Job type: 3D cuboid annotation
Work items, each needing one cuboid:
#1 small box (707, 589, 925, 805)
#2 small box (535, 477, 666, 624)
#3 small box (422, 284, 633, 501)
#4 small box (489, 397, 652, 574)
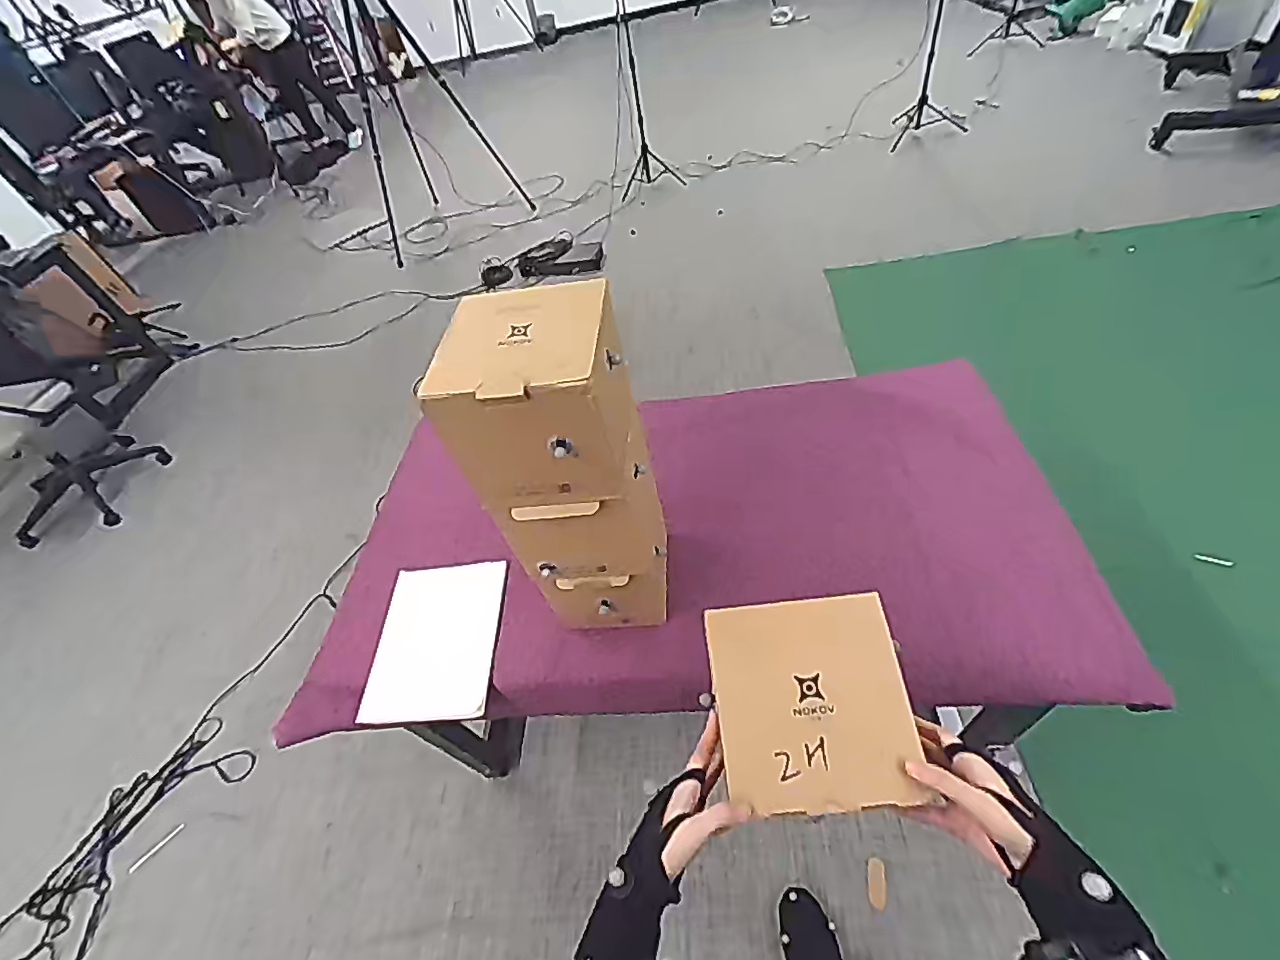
[{"bbox_3d":[0.158,0.226,0.557,0.168,0.176,0.179,-7,62,5],"label":"small box"},{"bbox_3d":[-0.051,0.117,0.850,0.168,0.176,0.179,-4,49,8],"label":"small box"},{"bbox_3d":[-0.105,-0.088,0.600,0.168,0.176,0.179,-3,48,9],"label":"small box"},{"bbox_3d":[-0.078,0.015,0.724,0.168,0.176,0.179,-4,48,9],"label":"small box"}]
